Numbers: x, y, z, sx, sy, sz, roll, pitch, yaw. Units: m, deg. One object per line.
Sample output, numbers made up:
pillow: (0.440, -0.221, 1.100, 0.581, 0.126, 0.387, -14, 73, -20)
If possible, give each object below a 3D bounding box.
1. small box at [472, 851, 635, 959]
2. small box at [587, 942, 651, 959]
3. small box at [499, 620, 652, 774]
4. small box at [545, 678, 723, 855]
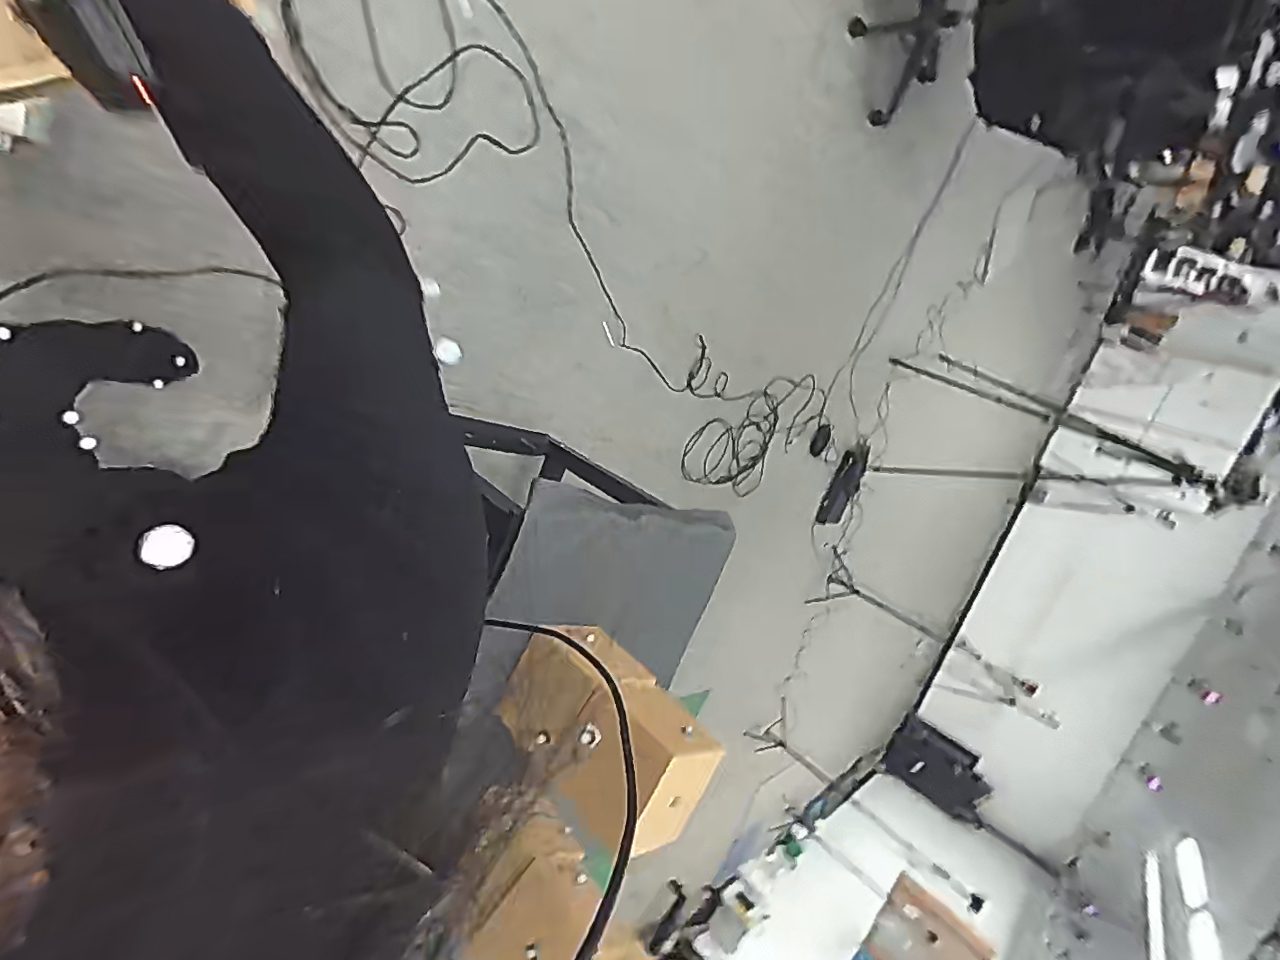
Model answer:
small box: (-0.146, 0.753, 0.878, 0.179, 0.176, 0.168, -49, 140, -15)
small box: (-0.035, 0.812, 0.776, 0.179, 0.176, 0.168, -50, 140, -12)
small box: (-0.118, 0.367, 0.941, 0.168, 0.176, 0.179, 22, 95, -51)
small box: (-0.010, 0.426, 0.835, 0.179, 0.176, 0.168, 30, 88, -50)
